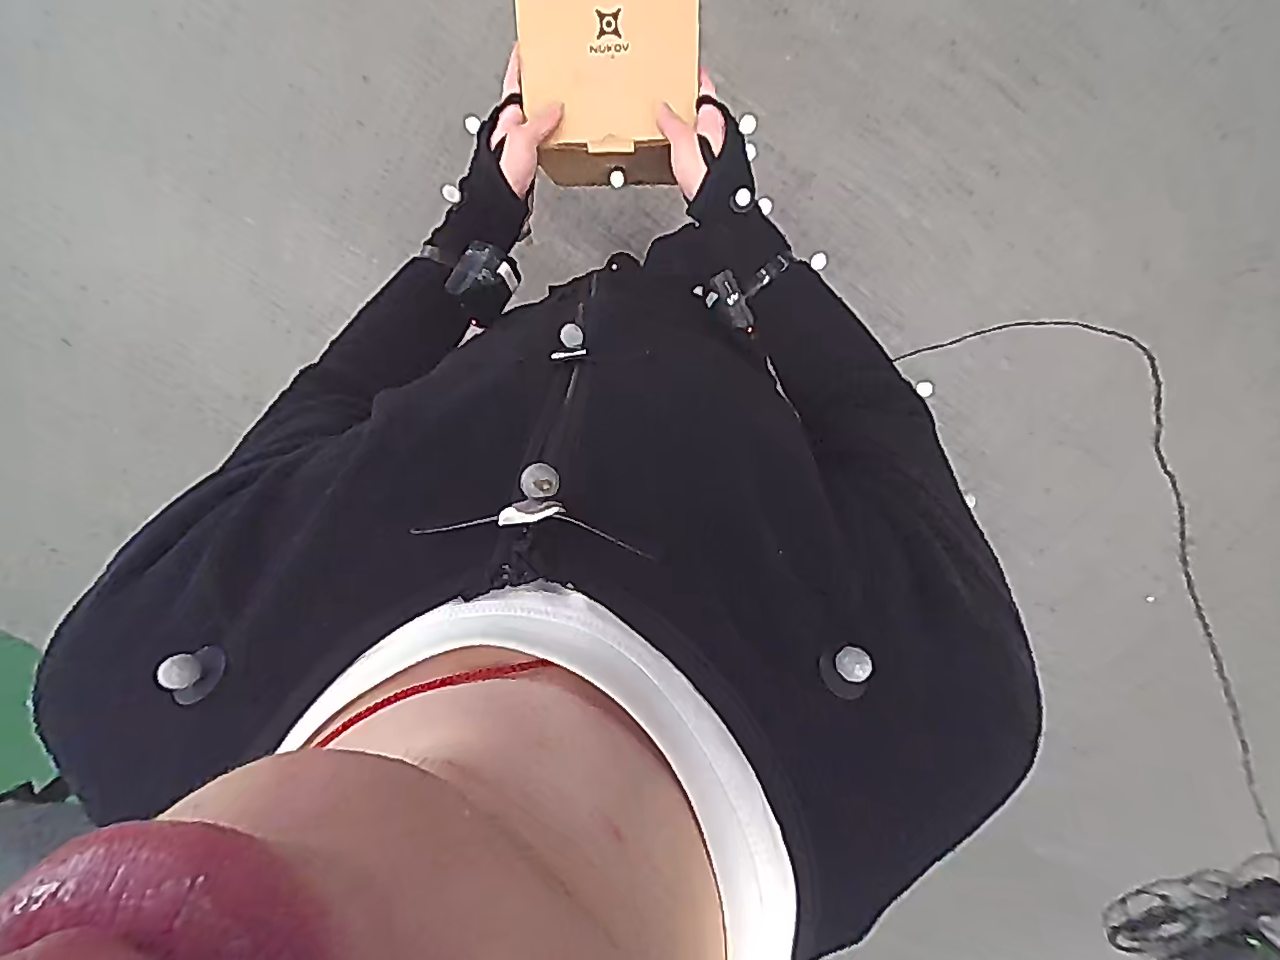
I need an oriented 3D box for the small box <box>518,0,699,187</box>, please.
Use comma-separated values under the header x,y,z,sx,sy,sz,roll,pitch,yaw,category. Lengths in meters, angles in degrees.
x,y,z,sx,sy,sz,roll,pitch,yaw,category
-0.024,-0.426,0.579,0.168,0.176,0.179,-3,107,3,small box
